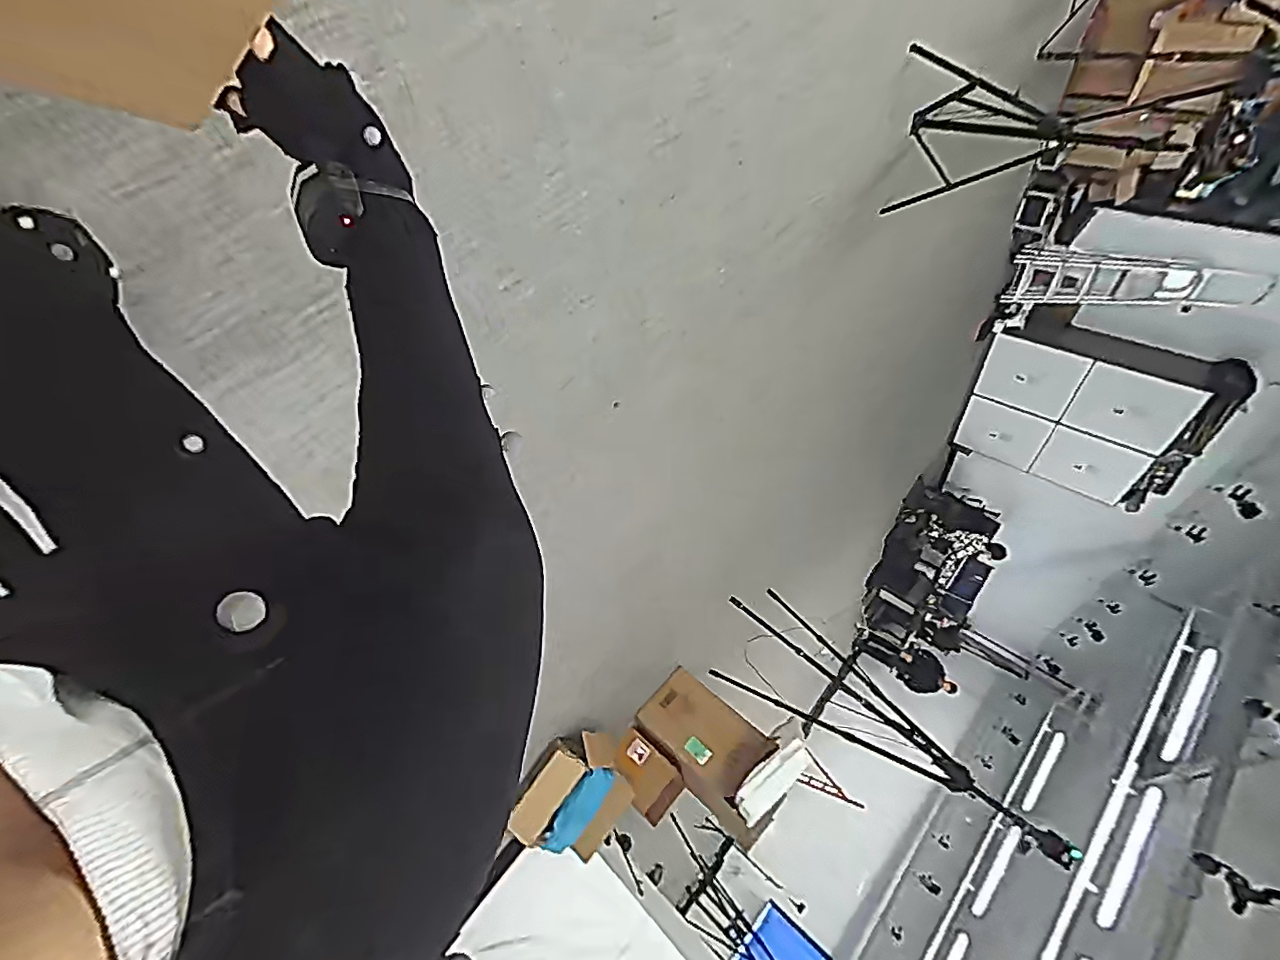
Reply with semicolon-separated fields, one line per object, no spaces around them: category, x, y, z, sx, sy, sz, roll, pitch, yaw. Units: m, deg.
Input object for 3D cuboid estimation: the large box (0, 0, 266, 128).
large box;-0.423;-0.406;0.207;0.408;0.320;0.320;-15;102;-47
